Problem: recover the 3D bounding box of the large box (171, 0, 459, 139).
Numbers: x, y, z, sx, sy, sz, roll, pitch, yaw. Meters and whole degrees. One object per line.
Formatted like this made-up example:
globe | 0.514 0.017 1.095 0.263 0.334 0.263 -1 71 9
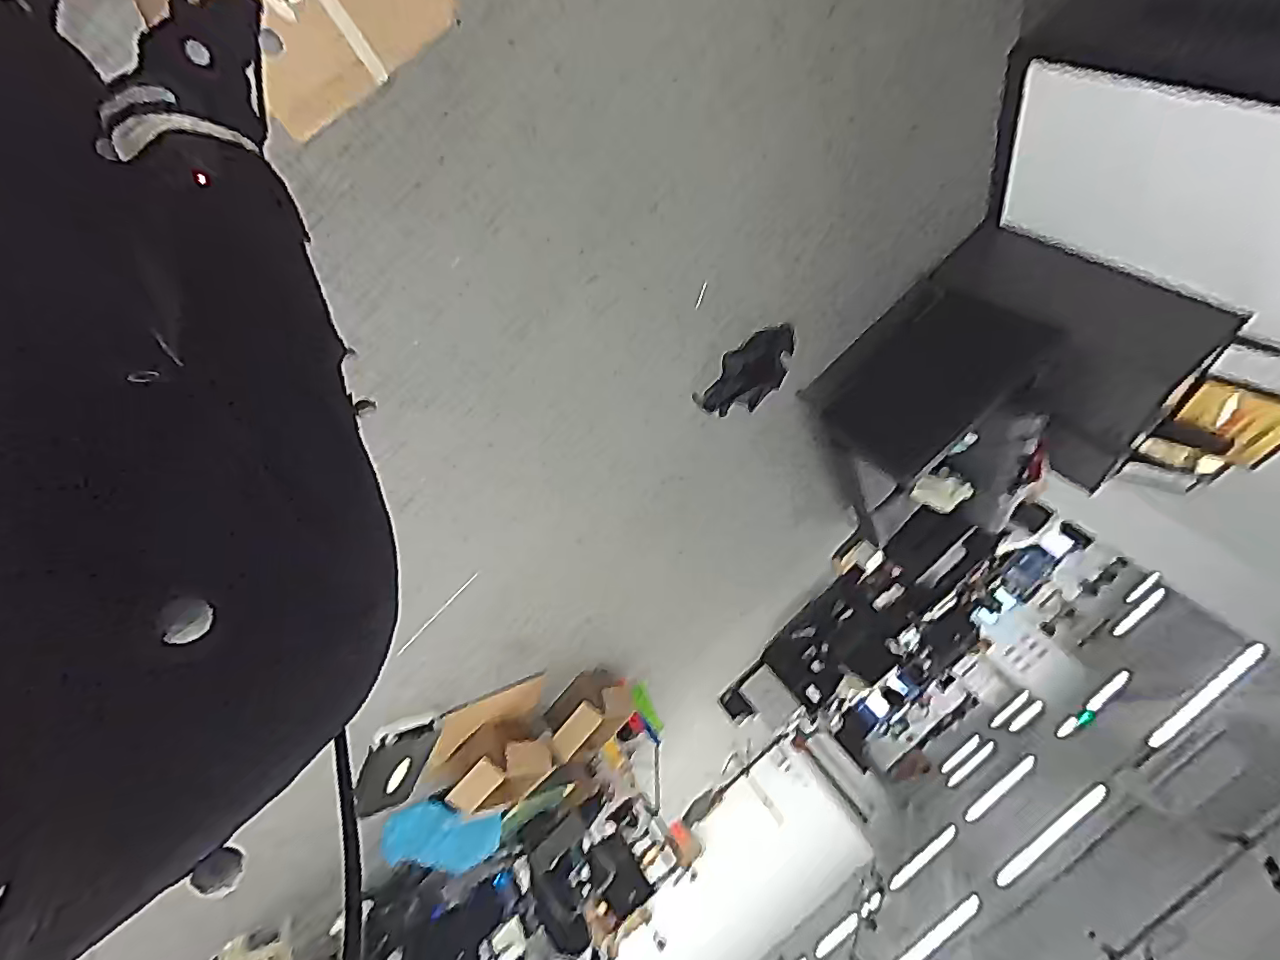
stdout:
large box | -0.530 -0.769 0.706 0.320 0.320 0.408 -40 148 -3
